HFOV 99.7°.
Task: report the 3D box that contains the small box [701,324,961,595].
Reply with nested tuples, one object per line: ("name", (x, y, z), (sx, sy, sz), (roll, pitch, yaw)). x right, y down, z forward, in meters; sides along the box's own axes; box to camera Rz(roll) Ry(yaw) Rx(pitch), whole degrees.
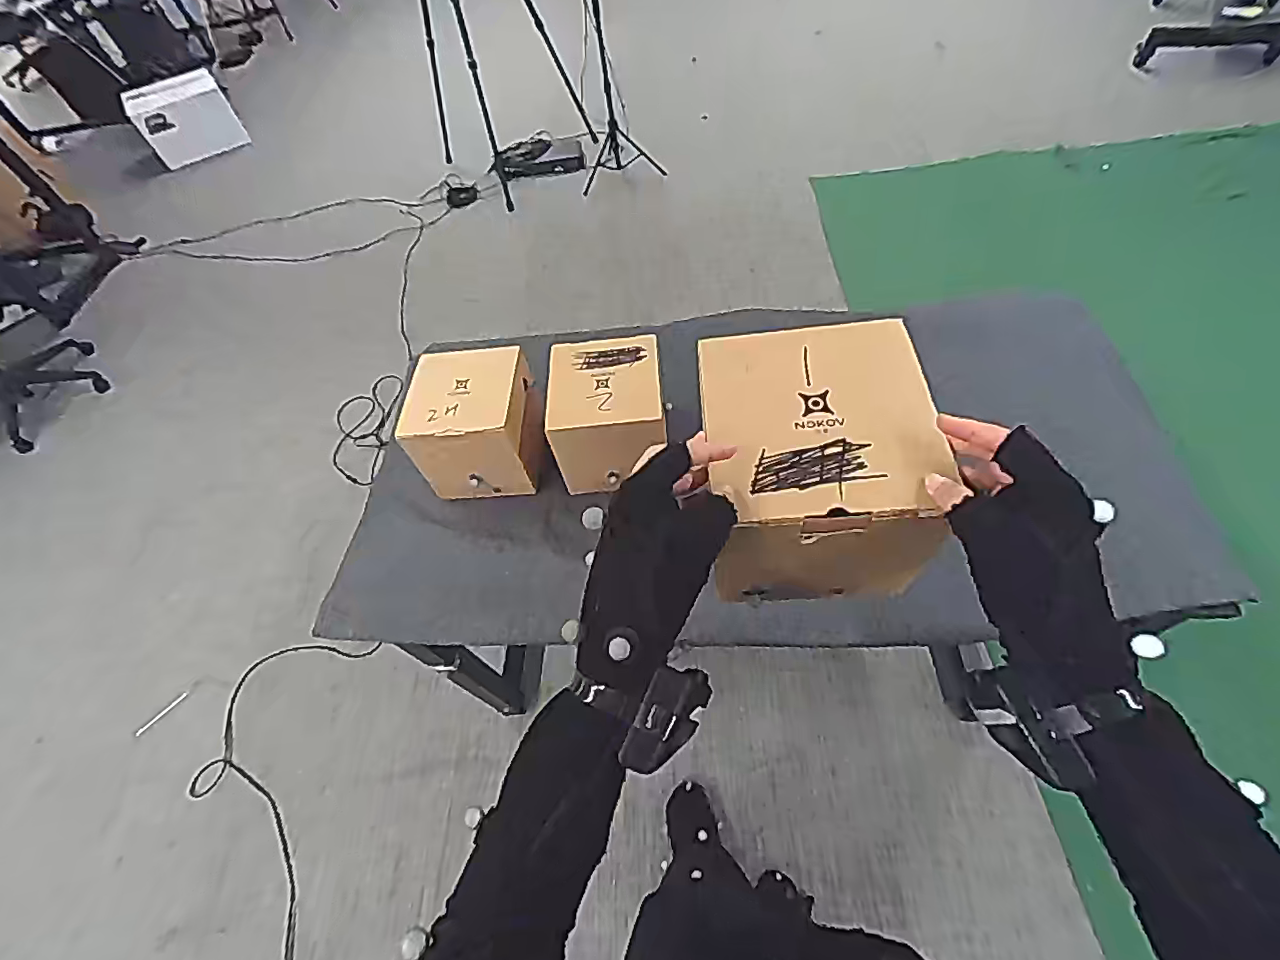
("small box", (0.143, -0.006, 0.472), (0.168, 0.176, 0.179), (-4, 57, 7))

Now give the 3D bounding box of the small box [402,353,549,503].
("small box", (-0.253, -0.082, 0.881), (0.168, 0.176, 0.179), (-4, 54, 6))
